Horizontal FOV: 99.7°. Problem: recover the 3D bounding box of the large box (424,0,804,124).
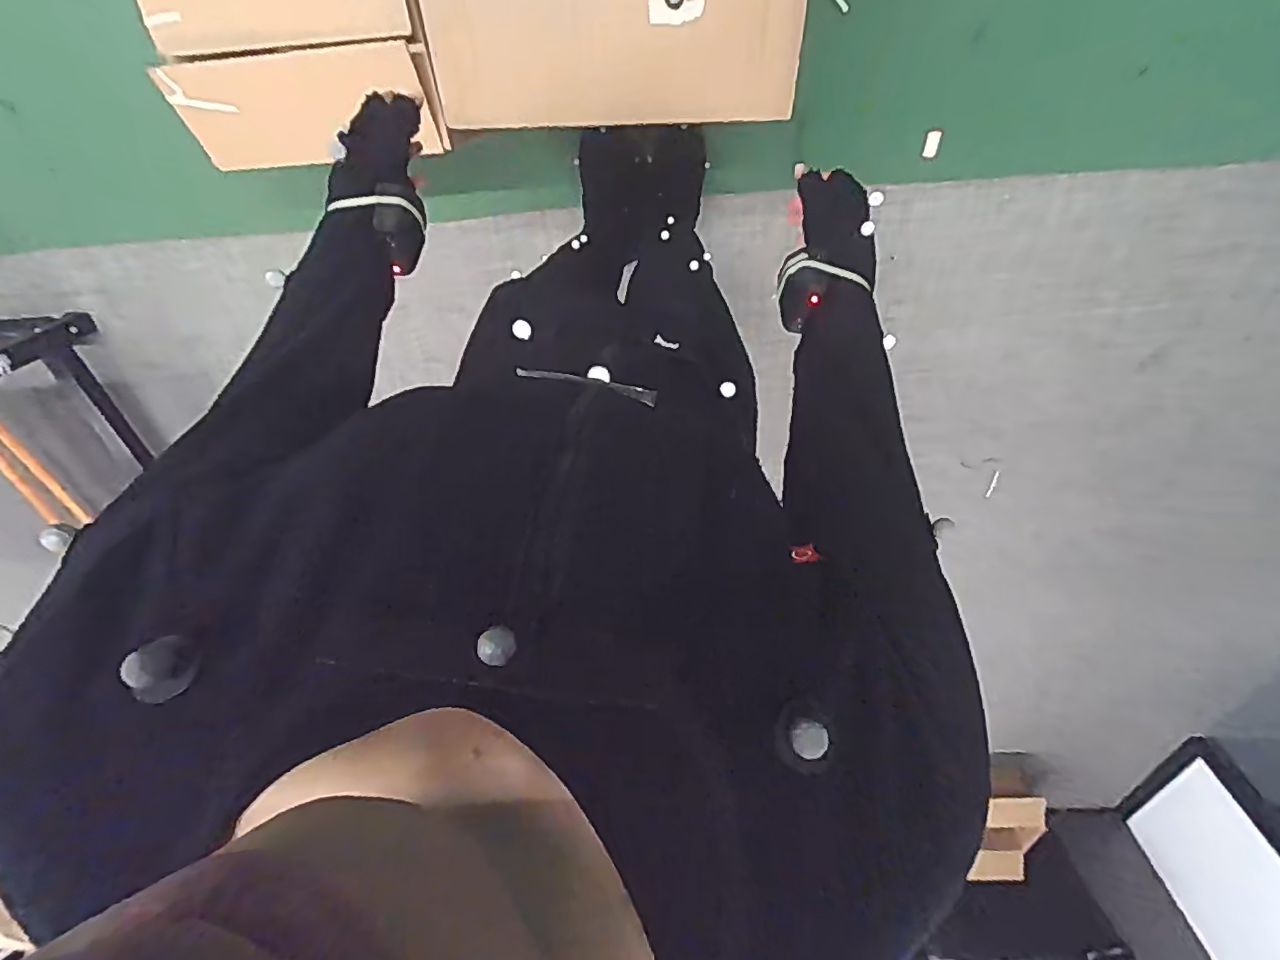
[{"bbox_3d":[-0.031,-0.633,0.646,0.408,0.320,0.320,-2,129,1],"label":"large box"}]
